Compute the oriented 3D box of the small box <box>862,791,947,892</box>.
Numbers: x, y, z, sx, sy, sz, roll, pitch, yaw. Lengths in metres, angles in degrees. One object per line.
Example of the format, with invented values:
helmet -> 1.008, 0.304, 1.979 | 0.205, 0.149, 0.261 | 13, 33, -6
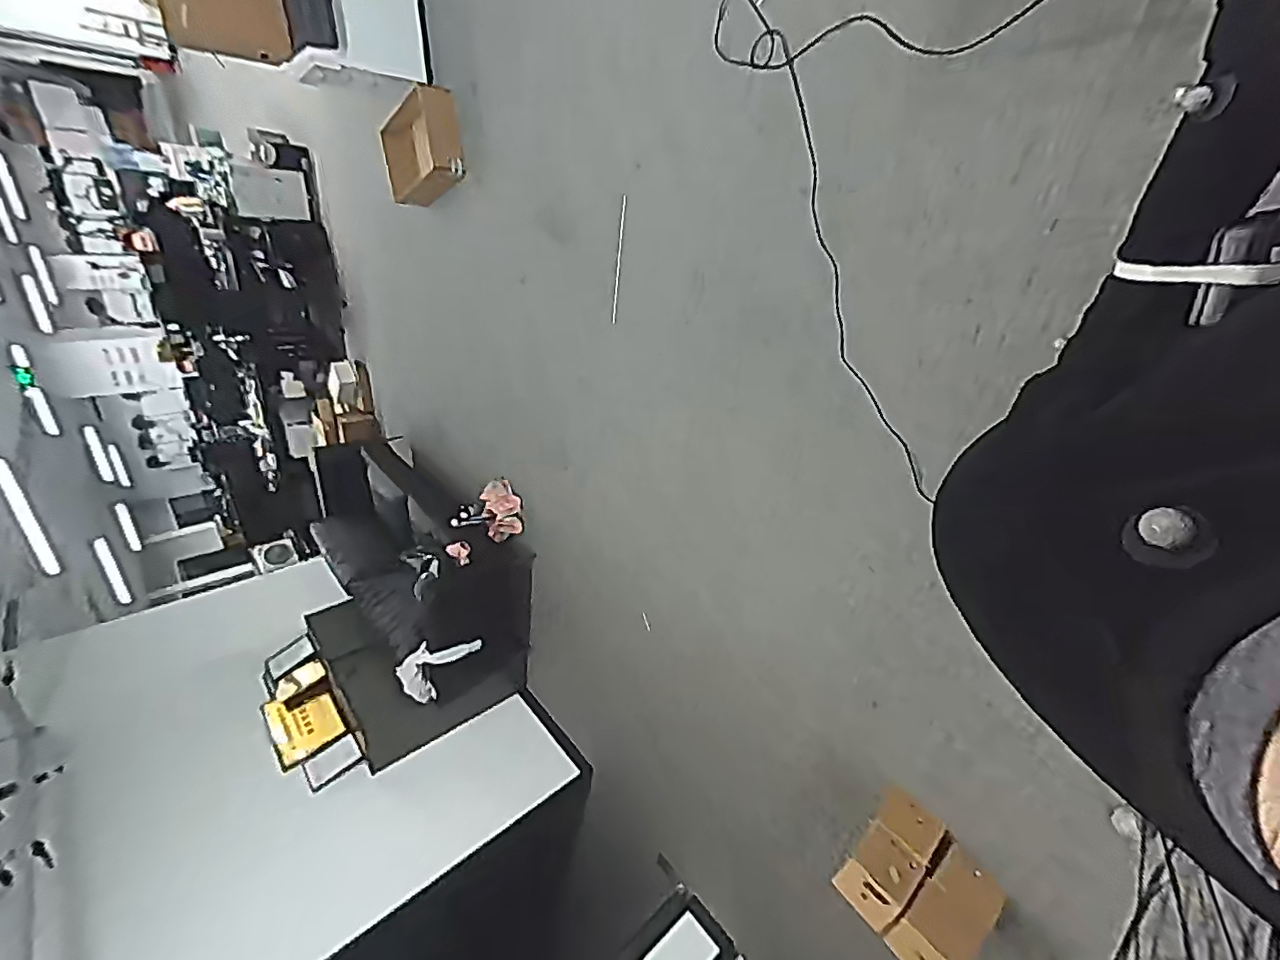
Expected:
small box -> 0.858, 1.162, 1.748 | 0.168, 0.176, 0.179 | 33, 126, 38
